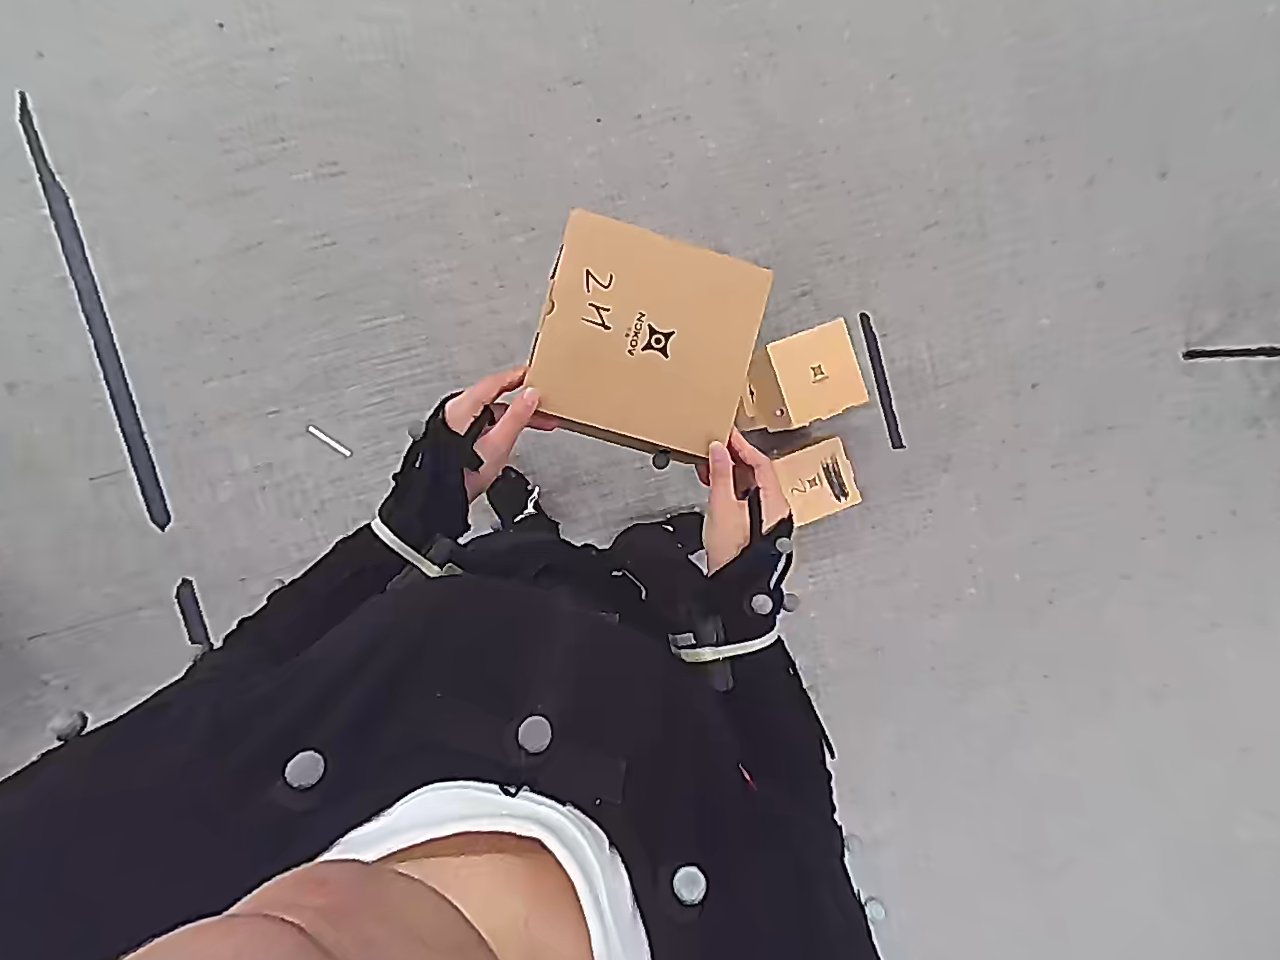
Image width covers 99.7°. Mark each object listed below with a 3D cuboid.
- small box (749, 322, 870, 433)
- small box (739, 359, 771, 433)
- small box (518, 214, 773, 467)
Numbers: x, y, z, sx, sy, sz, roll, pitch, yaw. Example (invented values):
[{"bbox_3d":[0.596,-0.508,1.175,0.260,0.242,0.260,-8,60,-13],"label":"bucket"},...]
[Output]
[{"bbox_3d":[0.347,-0.207,1.143,0.168,0.176,0.179,-20,95,-2],"label":"small box"},{"bbox_3d":[0.331,-0.211,1.305,0.179,0.176,0.168,-13,94,-3],"label":"small box"},{"bbox_3d":[-0.001,-0.115,0.518,0.179,0.176,0.168,15,89,-5],"label":"small box"}]
